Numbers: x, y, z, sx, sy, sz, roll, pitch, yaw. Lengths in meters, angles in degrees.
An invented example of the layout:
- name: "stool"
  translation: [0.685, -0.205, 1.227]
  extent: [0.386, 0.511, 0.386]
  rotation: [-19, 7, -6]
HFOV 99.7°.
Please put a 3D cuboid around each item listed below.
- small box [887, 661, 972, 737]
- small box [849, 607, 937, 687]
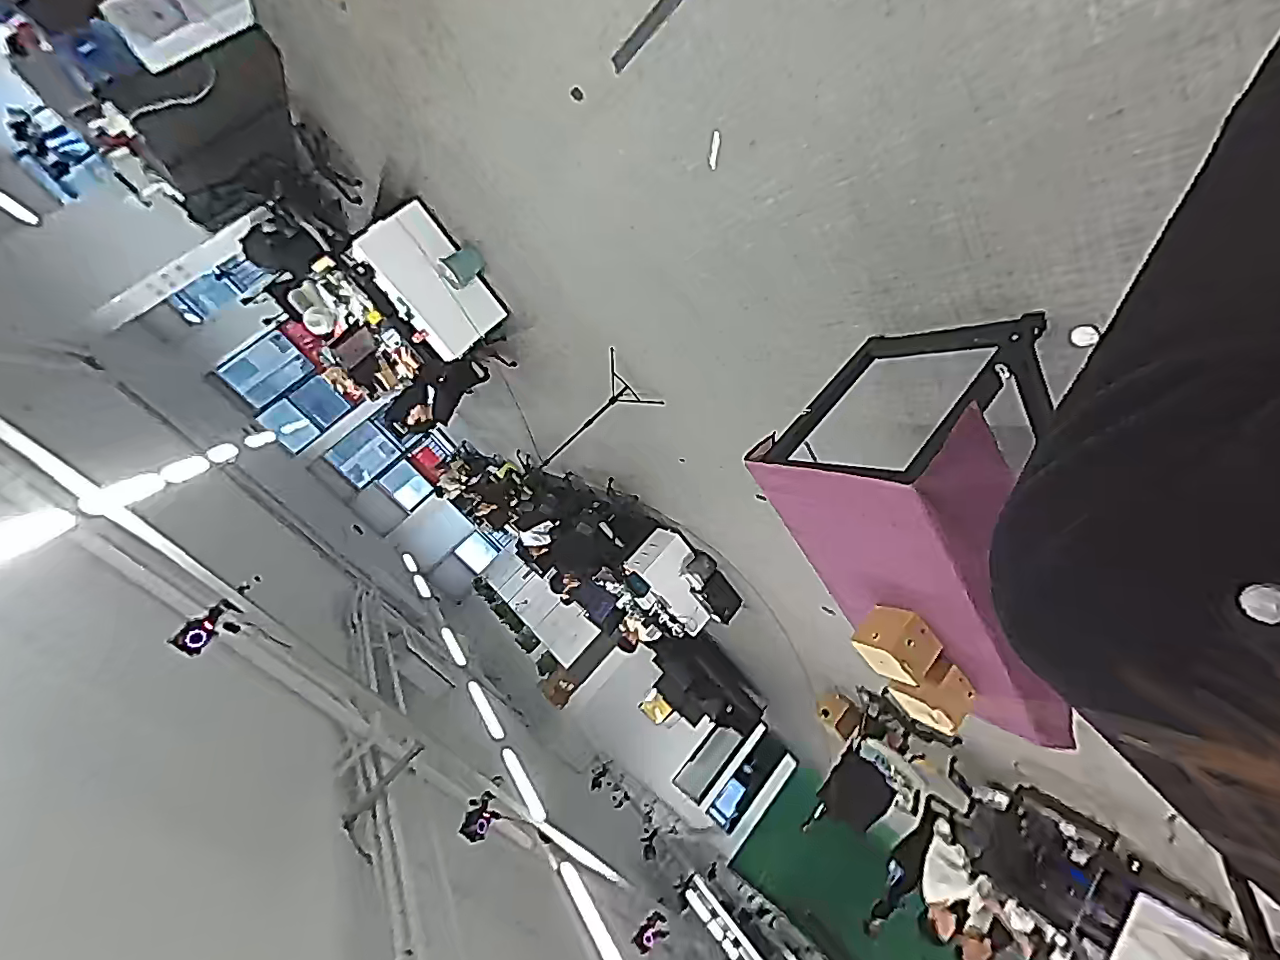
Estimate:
- name: "small box"
  translation: [0.994, 0.728, 1.846]
  extent: [0.168, 0.176, 0.179]
  rotation: [49, 163, -13]
- name: "small box"
  translation: [0.839, 0.542, 1.779]
  extent: [0.168, 0.176, 0.179]
  rotation: [49, 163, -12]
